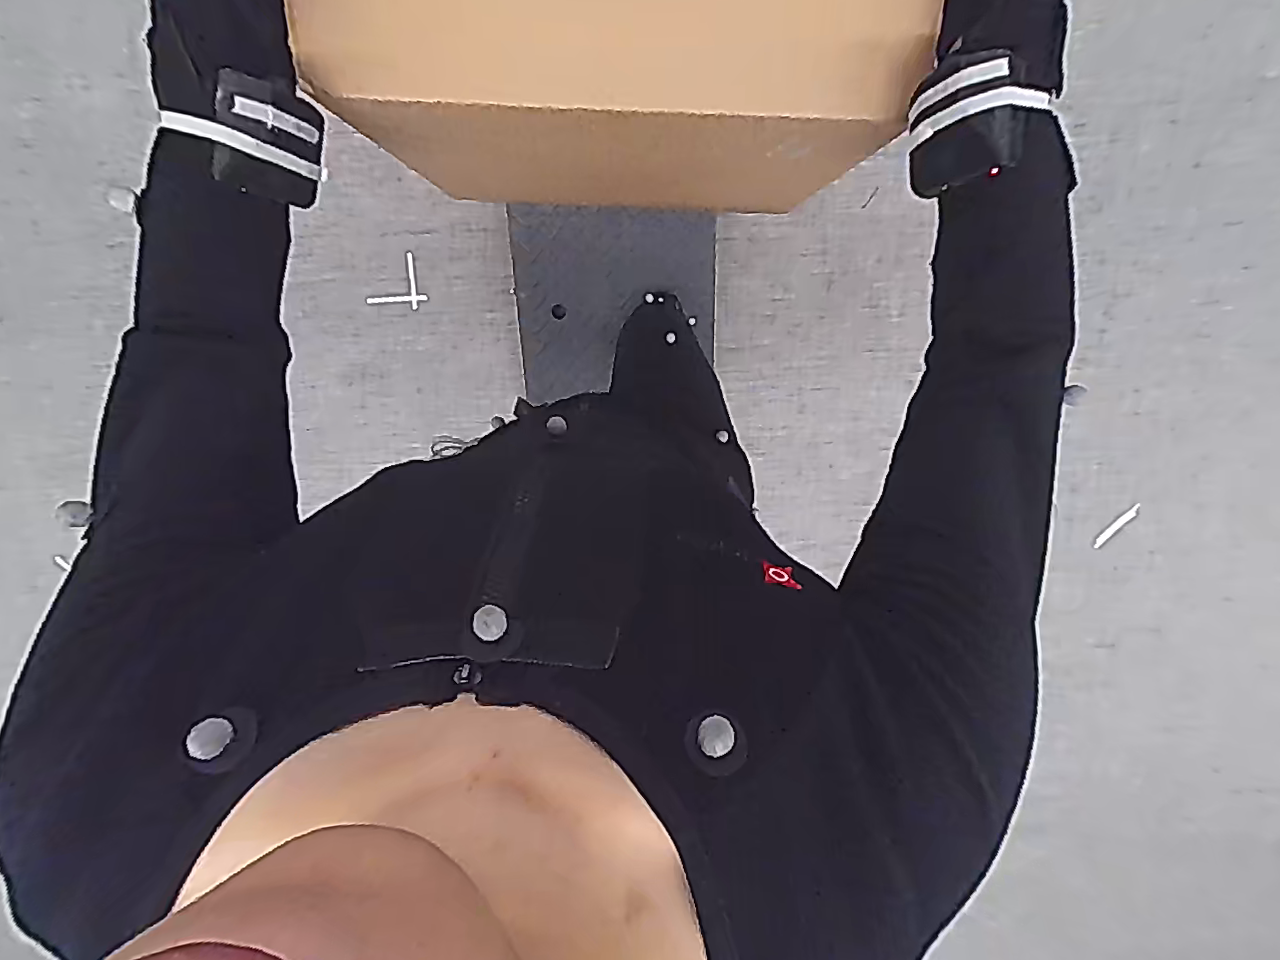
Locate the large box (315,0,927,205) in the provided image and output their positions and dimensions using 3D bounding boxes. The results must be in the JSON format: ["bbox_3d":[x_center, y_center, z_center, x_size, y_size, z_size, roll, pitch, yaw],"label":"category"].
[{"bbox_3d":[-0.014,-0.440,0.467,0.408,0.320,0.320,1,106,-2],"label":"large box"}]

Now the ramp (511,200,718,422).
[{"bbox_3d":[-0.058,-0.631,1.278,0.509,0.206,0.991,-4,101,-1],"label":"ramp"}]
